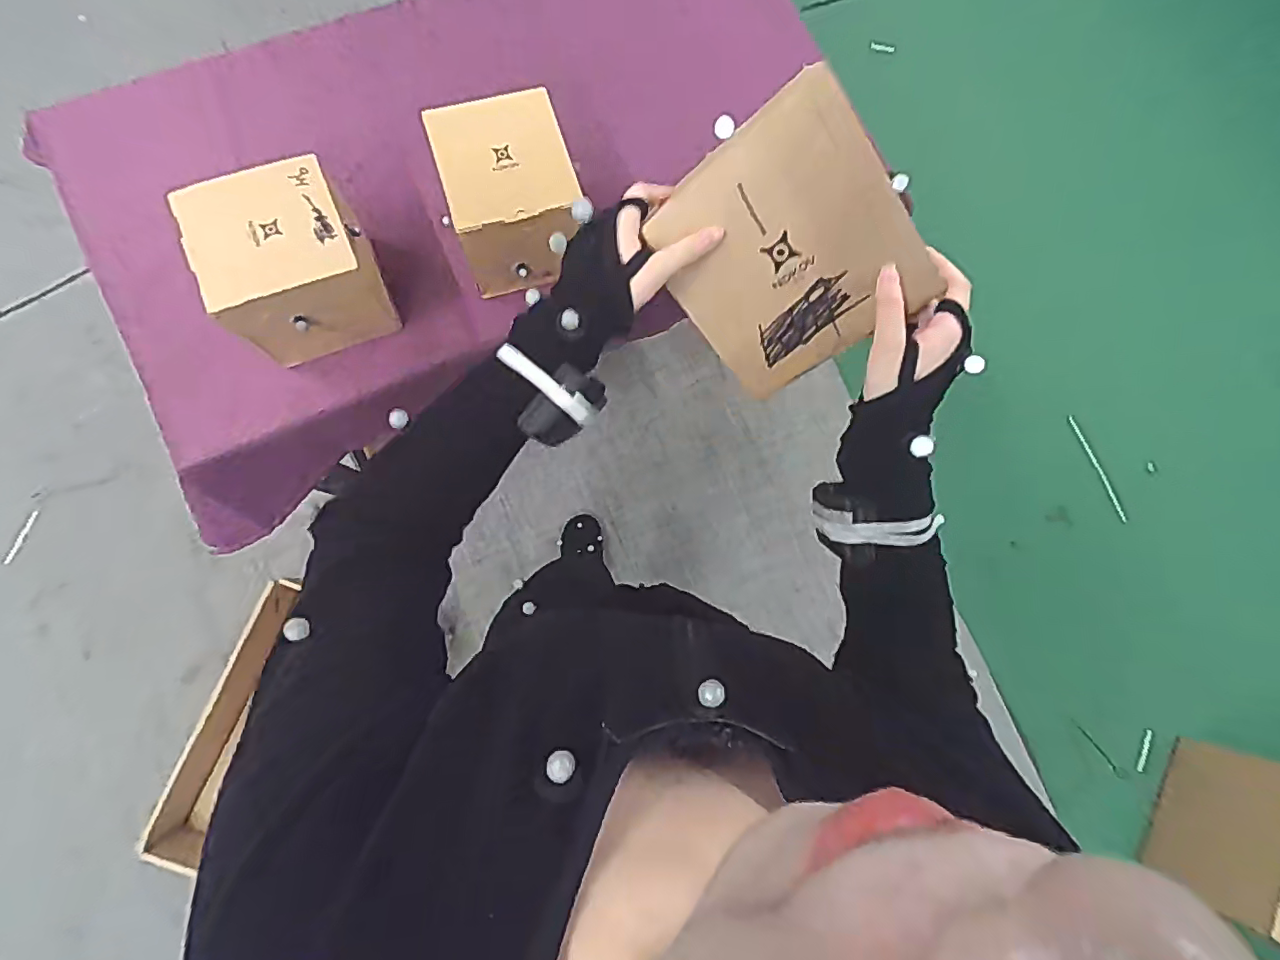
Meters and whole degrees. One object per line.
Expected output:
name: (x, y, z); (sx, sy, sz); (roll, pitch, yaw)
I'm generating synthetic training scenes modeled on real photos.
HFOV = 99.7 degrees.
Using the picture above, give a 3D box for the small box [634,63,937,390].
small box: (0.123, -0.218, 0.470); (0.168, 0.176, 0.179); (-30, 114, 29)

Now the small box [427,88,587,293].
small box: (-0.180, -0.398, 0.766); (0.168, 0.176, 0.179); (-17, 84, -8)

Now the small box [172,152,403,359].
small box: (-0.449, -0.283, 0.718); (0.179, 0.176, 0.168); (-22, 85, -8)
